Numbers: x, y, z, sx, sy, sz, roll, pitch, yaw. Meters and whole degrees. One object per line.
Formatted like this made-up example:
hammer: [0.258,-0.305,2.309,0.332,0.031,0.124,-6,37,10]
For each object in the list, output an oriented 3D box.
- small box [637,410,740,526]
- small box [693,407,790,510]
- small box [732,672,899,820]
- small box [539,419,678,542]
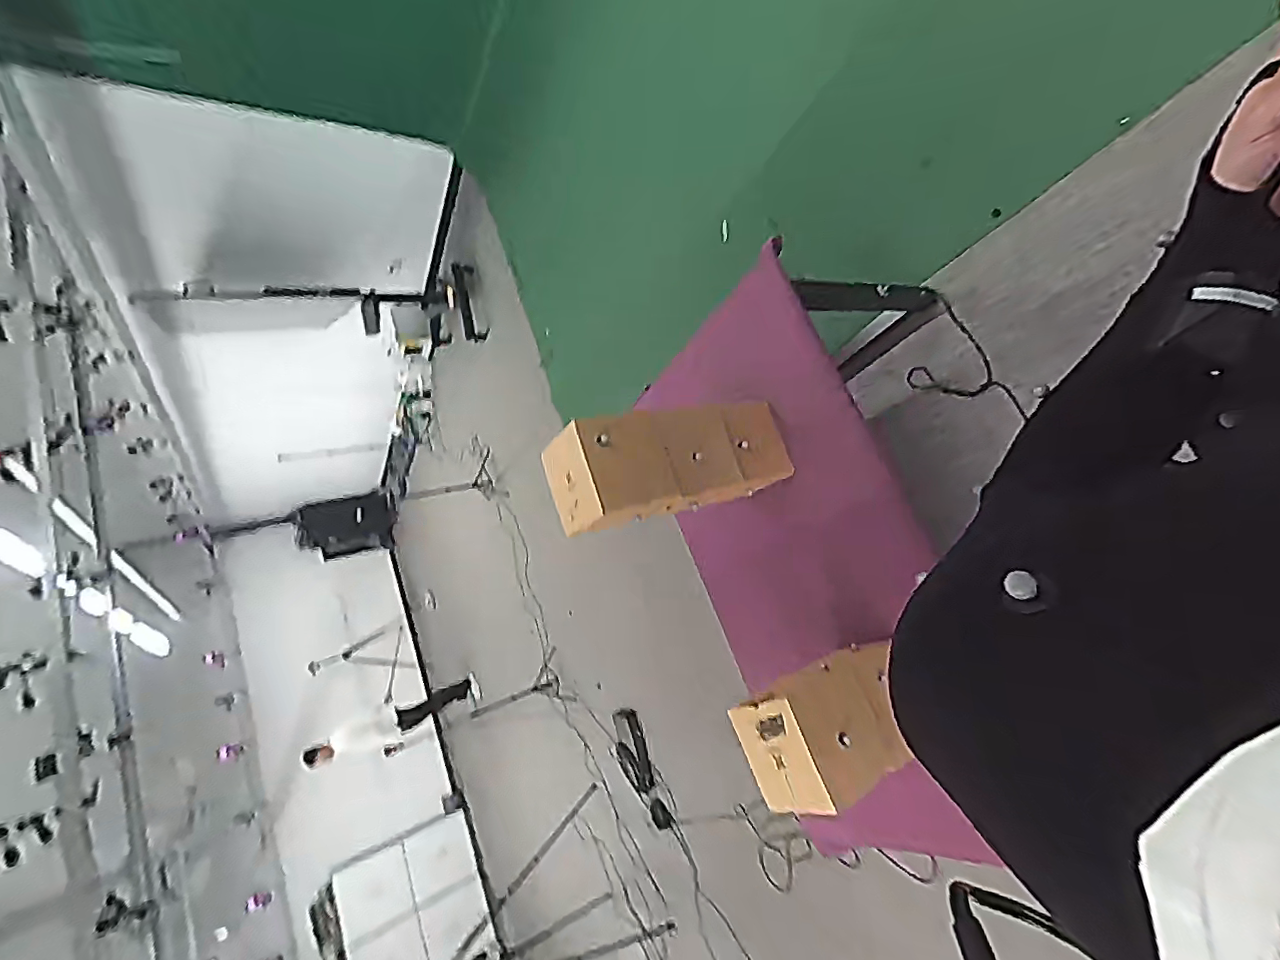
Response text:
small box: [0.073,-0.027,1.095,0.168,0.176,0.179,-33,75,52]
small box: [0.197,-0.052,1.199,0.168,0.176,0.179,-33,74,53]
small box: [0.296,0.443,0.921,0.168,0.176,0.179,-44,64,50]
small box: [-0.059,-0.003,0.997,0.168,0.176,0.179,-34,74,53]
